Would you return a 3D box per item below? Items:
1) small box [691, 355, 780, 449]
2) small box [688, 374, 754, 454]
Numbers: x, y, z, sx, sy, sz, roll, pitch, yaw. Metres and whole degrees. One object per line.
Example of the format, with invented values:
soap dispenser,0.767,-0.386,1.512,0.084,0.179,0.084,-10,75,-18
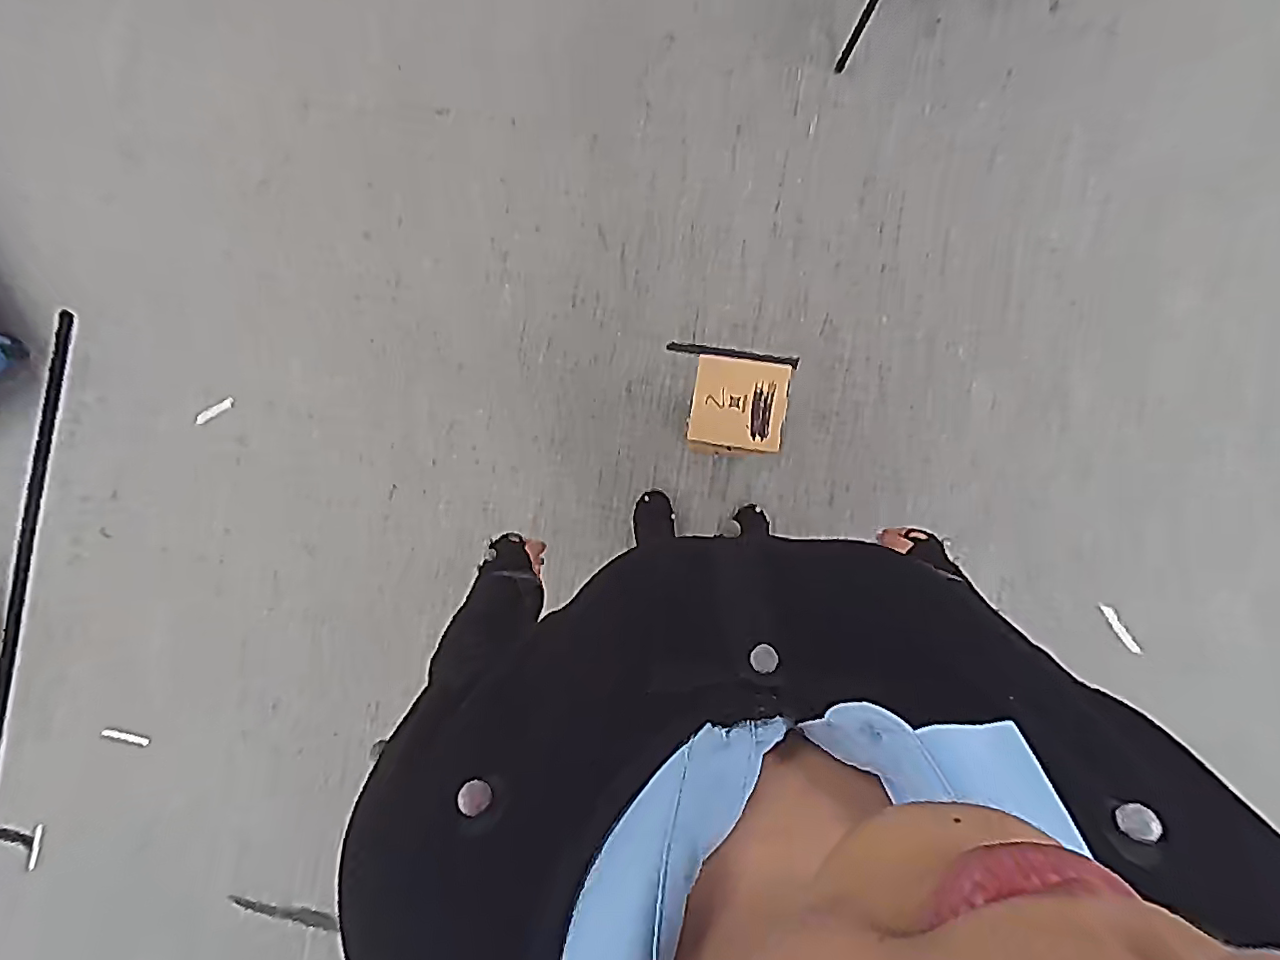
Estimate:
small box,0.213,-0.172,1.249,0.168,0.176,0.179,11,92,4
small box,0.220,-0.165,1.411,0.168,0.176,0.179,8,91,4
